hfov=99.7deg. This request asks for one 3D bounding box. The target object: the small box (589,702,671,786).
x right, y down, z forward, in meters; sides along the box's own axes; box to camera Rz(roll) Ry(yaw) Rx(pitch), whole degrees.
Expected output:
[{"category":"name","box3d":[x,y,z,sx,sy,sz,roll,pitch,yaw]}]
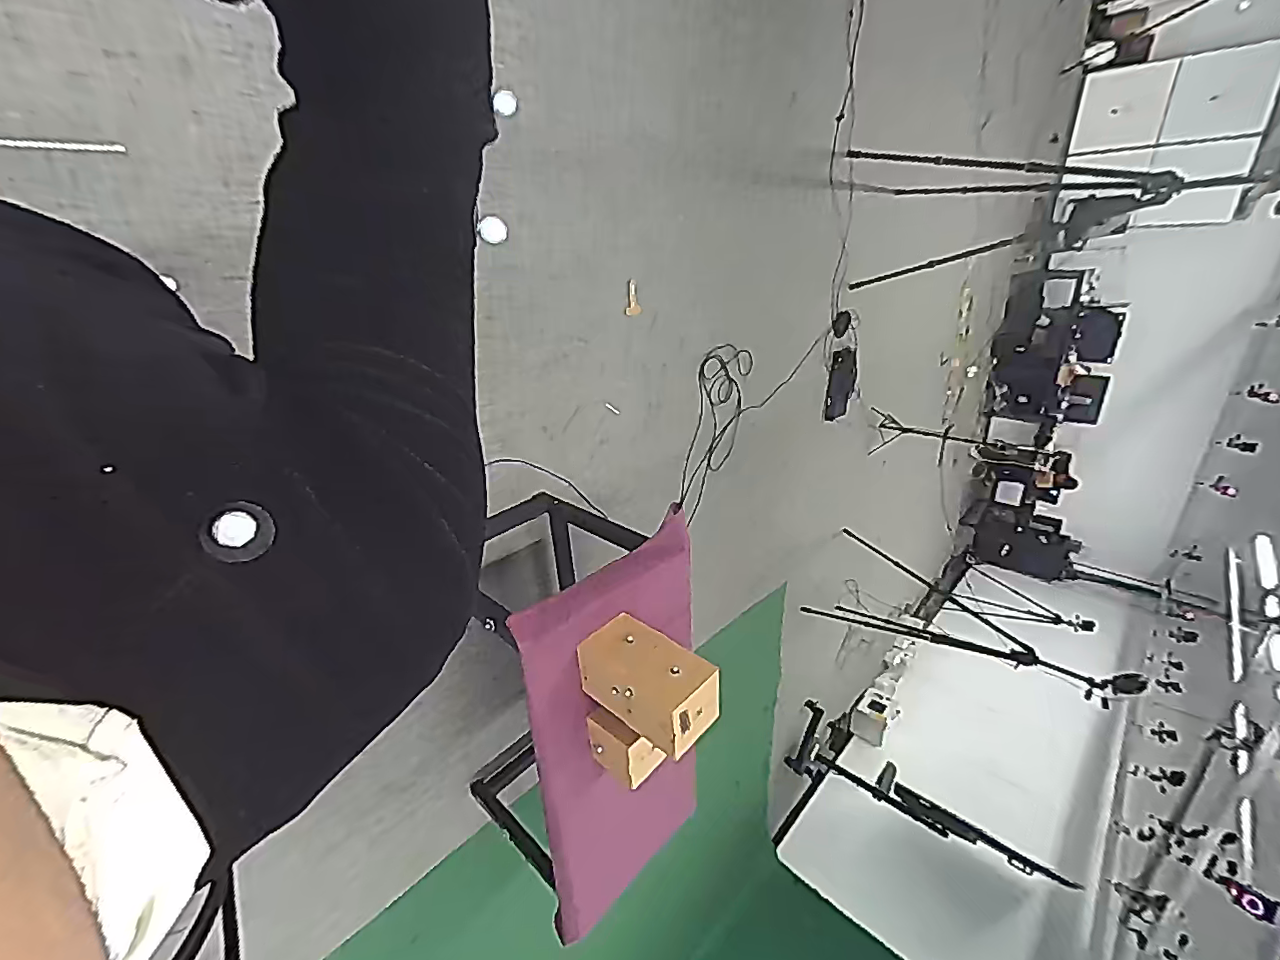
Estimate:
[{"category":"small box","box3d":[-0.022,0.714,1.546,0.179,0.176,0.168,-27,123,-40]}]

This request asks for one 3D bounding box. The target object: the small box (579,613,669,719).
[{"category":"small box","box3d":[-0.039,0.485,1.442,0.179,0.176,0.168,-27,123,-41]}]

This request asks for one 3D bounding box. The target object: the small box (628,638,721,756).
[{"category":"small box","box3d":[0.081,0.527,1.336,0.179,0.176,0.168,-27,124,-41]}]
